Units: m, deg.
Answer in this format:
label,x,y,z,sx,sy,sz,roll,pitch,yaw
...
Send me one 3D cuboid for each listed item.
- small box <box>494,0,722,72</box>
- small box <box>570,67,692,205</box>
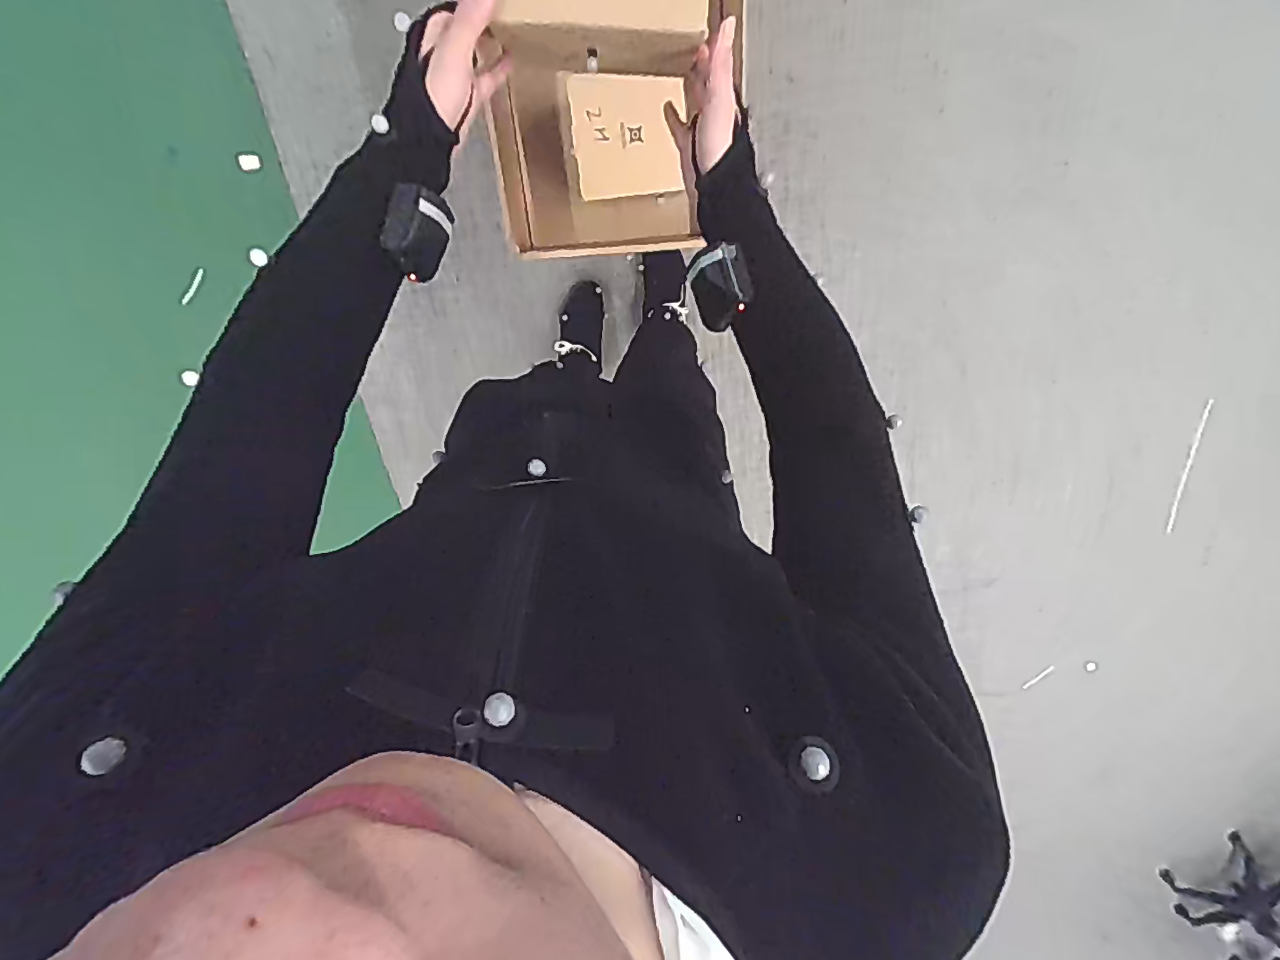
label,x,y,z,sx,sy,sz,roll,pitch,yaw
small box,-0.023,-0.463,0.453,0.179,0.176,0.168,2,117,-2
small box,-0.014,-0.553,0.888,0.179,0.176,0.168,-5,115,1
